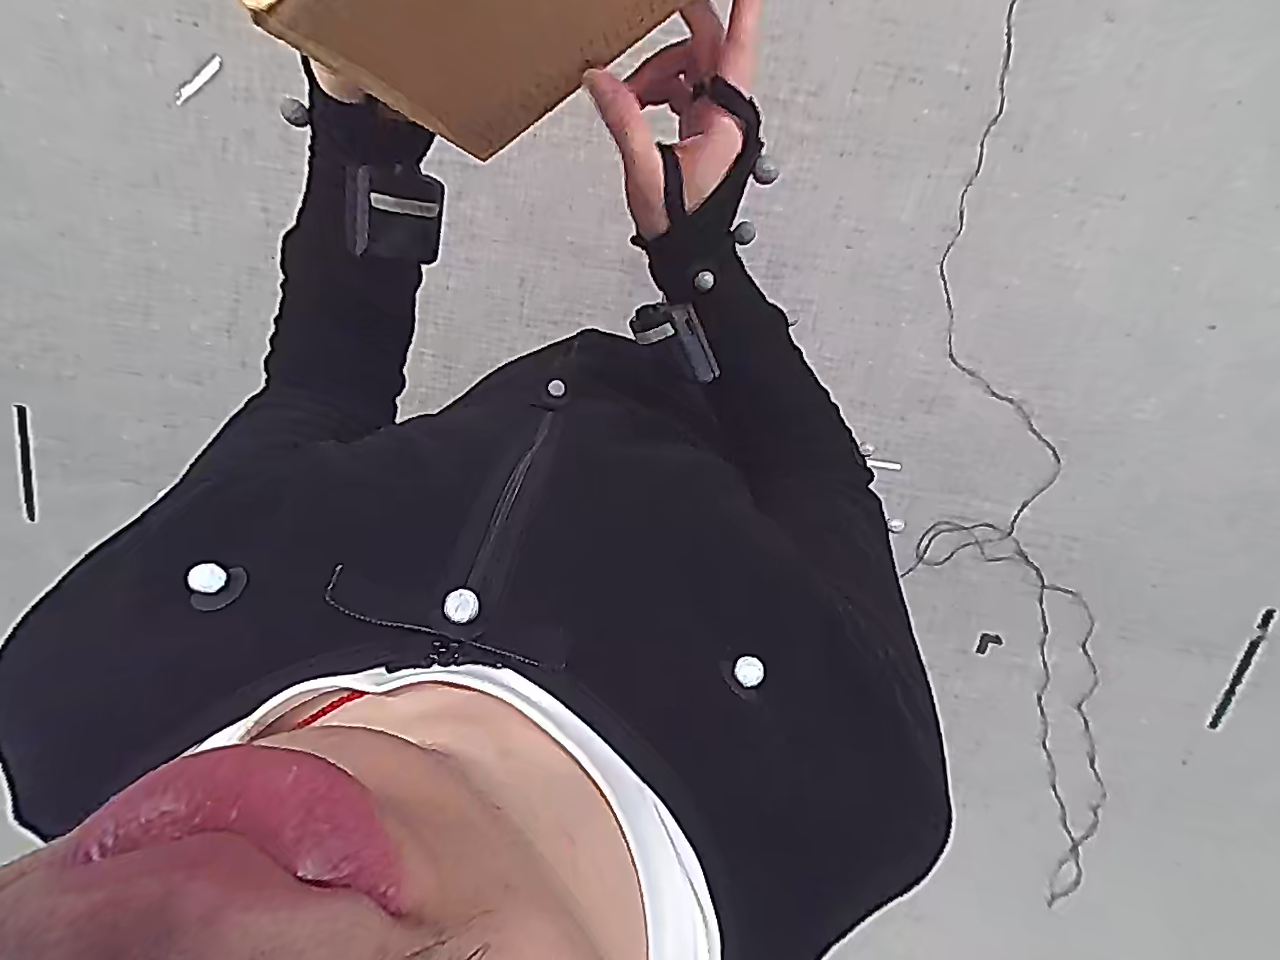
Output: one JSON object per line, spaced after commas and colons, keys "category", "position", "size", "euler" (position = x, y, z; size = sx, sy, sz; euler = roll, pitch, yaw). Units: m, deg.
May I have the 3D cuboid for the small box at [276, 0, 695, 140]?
{"category": "small box", "position": [-0.063, -0.270, 0.202], "size": [0.179, 0.176, 0.168], "euler": [-28, 103, 15]}
